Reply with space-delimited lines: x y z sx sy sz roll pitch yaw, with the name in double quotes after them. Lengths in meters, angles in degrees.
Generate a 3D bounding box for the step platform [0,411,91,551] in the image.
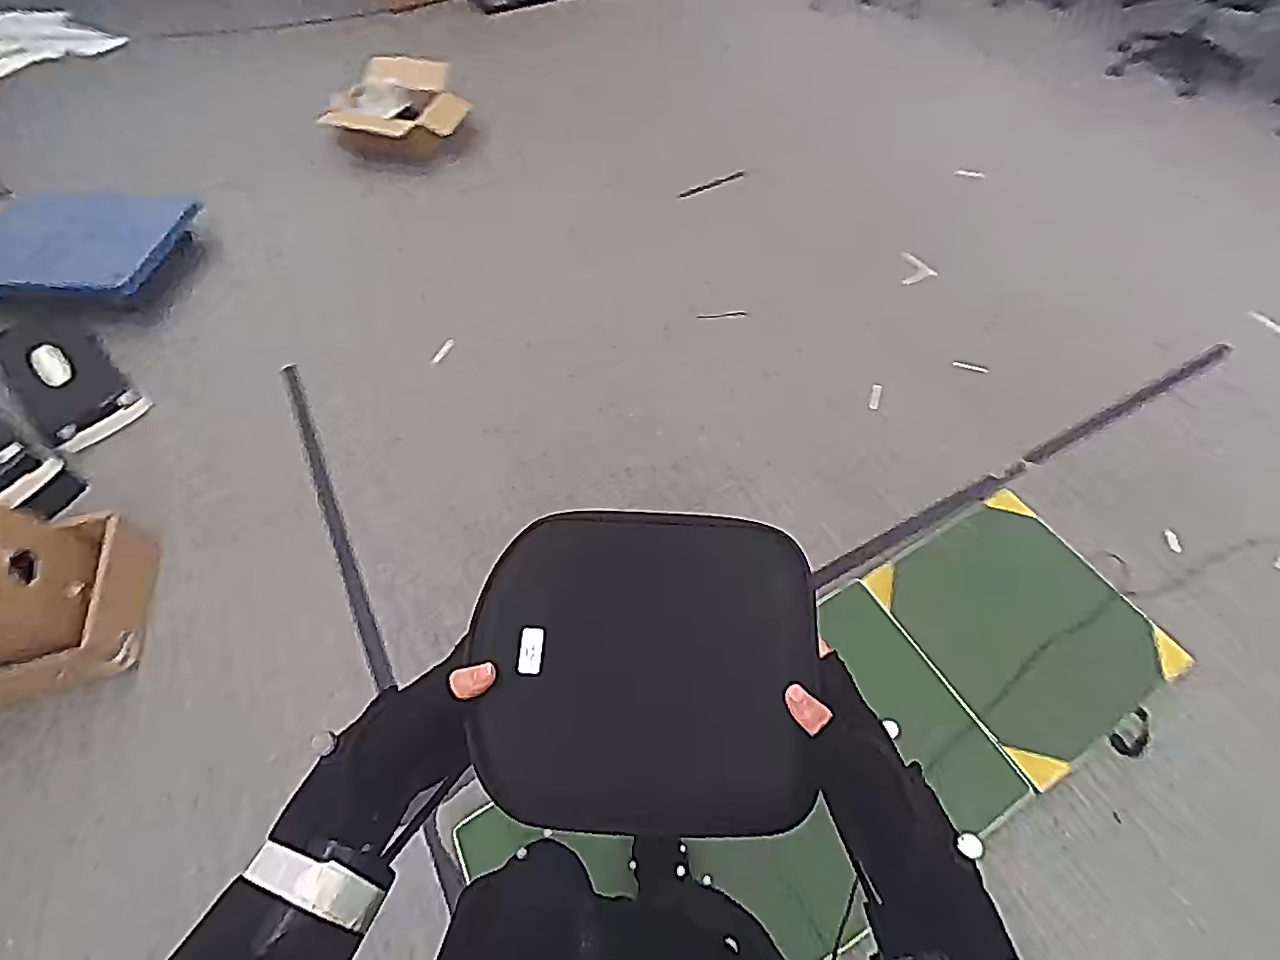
-2.092 -0.068 1.683 0.684 0.204 0.286 28 62 15 "step platform"
